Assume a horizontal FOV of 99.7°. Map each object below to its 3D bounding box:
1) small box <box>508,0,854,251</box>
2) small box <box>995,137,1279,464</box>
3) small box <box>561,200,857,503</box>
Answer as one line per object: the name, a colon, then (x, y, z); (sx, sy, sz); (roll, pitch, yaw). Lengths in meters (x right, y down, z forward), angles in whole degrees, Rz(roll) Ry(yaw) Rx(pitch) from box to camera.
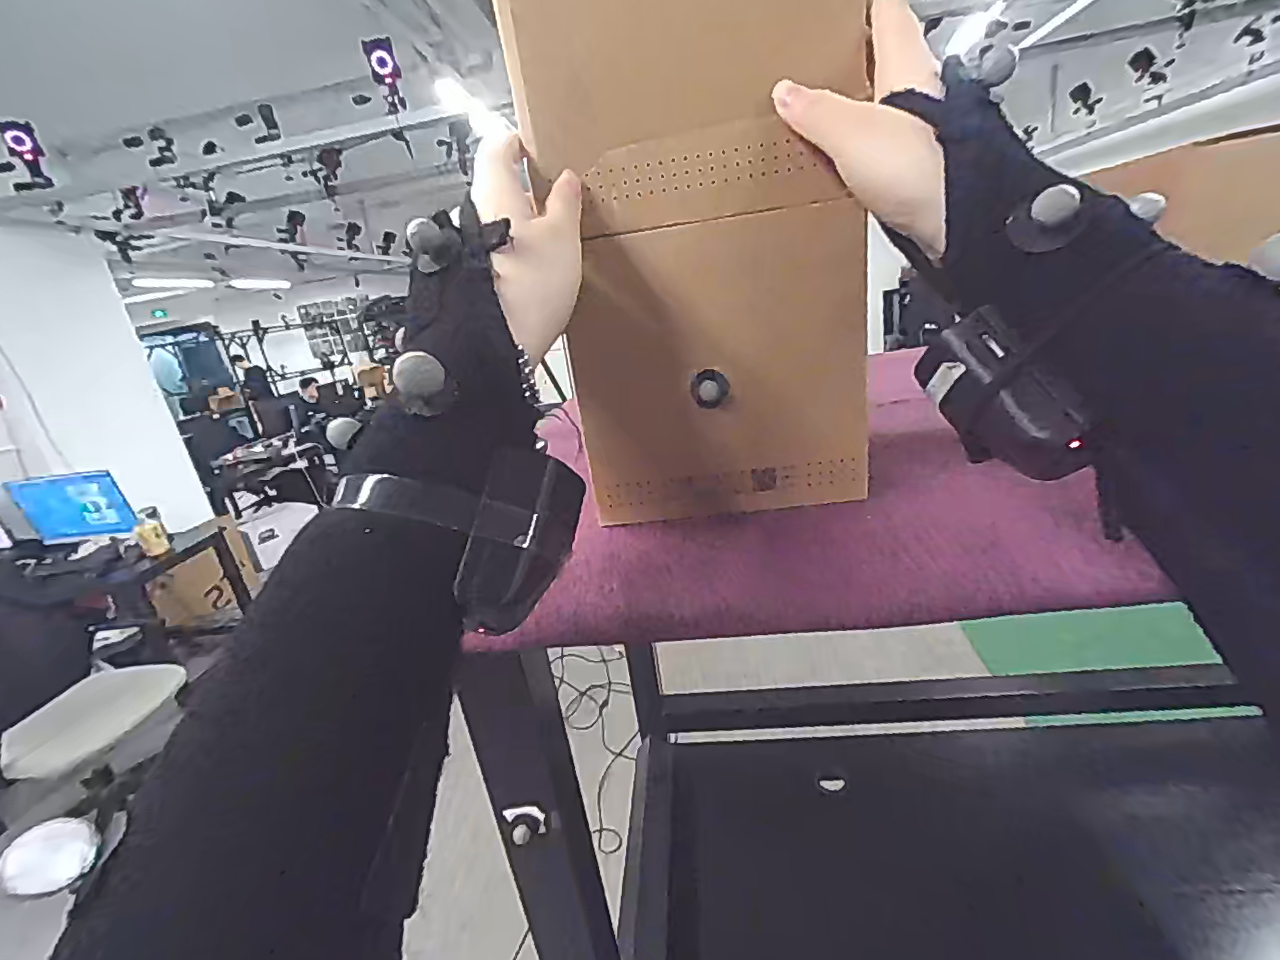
small box: (0.024, -0.237, 0.342); (0.179, 0.176, 0.168); (-5, 18, 4)
small box: (0.371, -0.119, 0.362); (0.179, 0.176, 0.168); (-7, 17, 7)
small box: (0.052, -0.086, 0.394); (0.168, 0.176, 0.179); (-5, 18, 6)
